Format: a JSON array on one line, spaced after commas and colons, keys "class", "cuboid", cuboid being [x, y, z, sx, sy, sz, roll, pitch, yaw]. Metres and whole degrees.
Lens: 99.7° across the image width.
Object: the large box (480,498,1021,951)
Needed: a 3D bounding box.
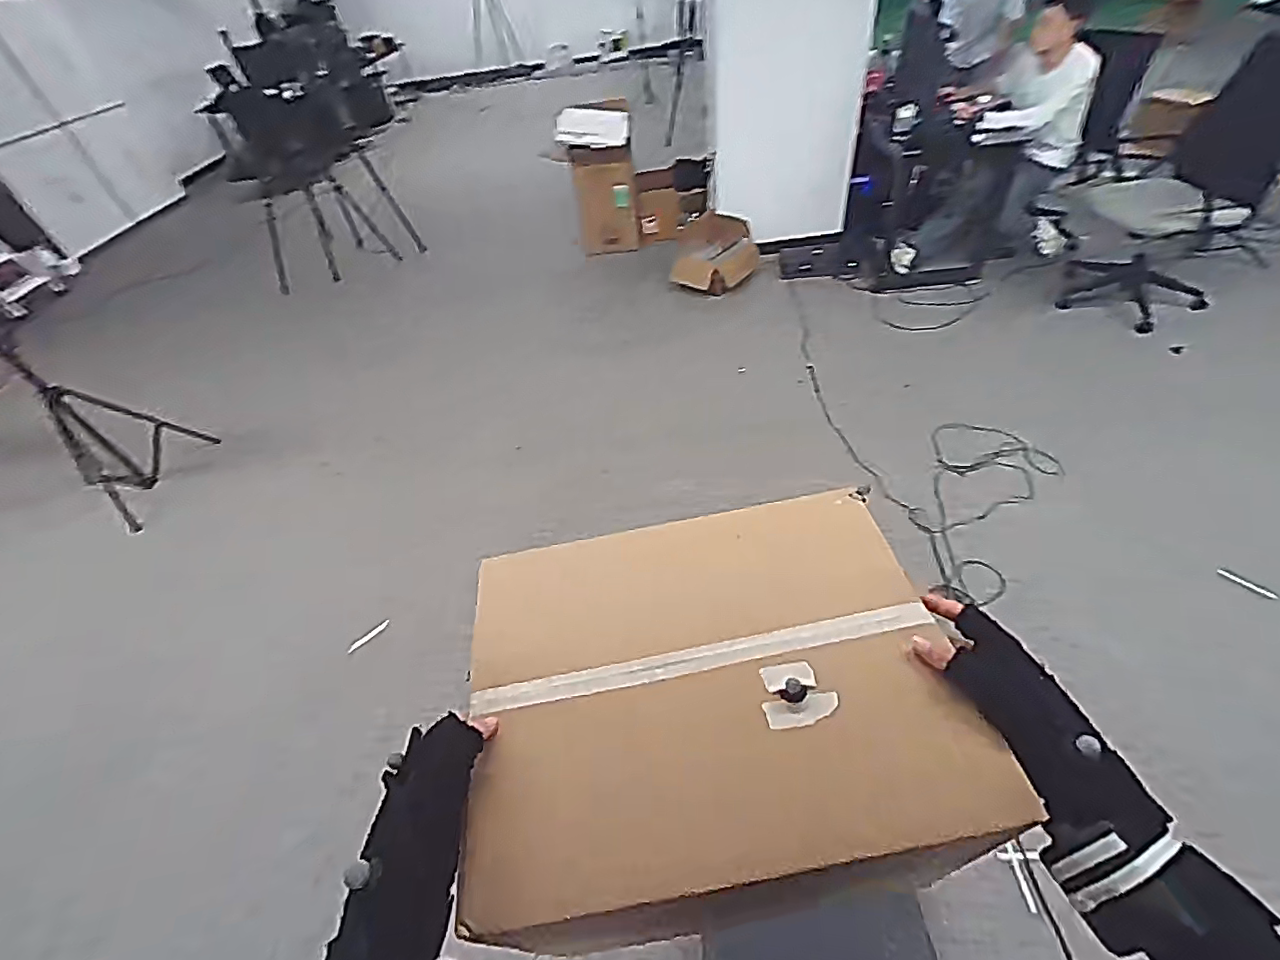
[{"class": "large box", "cuboid": [0.076, 0.265, 0.590, 0.408, 0.320, 0.320, -11, 46, 0]}]
